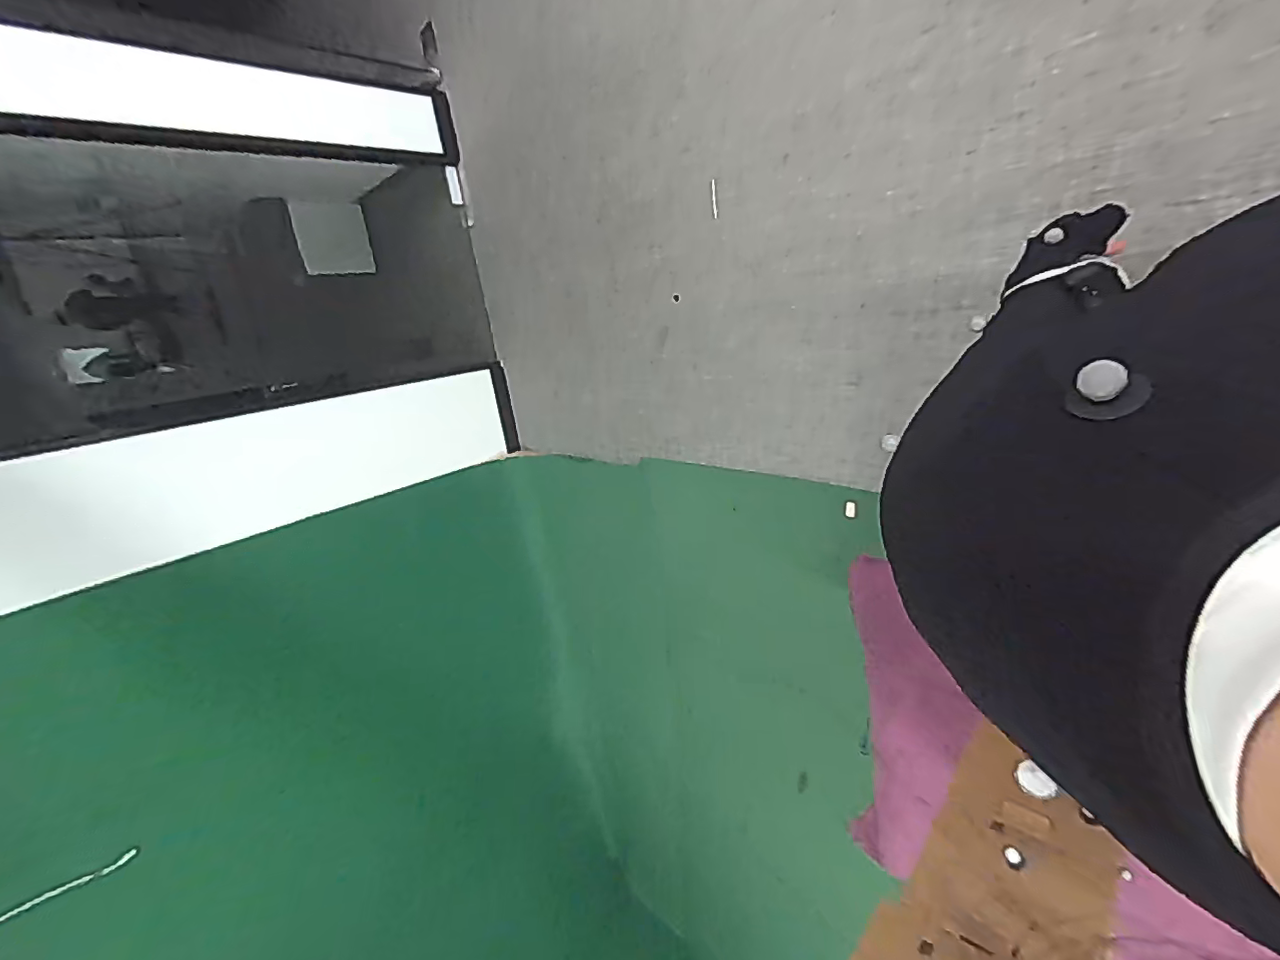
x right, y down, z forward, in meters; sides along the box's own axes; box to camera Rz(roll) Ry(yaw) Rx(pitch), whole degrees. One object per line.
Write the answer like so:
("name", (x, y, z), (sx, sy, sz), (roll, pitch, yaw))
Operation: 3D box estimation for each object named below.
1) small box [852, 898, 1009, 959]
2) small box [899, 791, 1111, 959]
("small box", (0.293, 0.557, 0.508), (0.168, 0.176, 0.179), (-9, 102, 49))
("small box", (0.410, 0.505, 0.608), (0.168, 0.176, 0.179), (6, 113, 45))
